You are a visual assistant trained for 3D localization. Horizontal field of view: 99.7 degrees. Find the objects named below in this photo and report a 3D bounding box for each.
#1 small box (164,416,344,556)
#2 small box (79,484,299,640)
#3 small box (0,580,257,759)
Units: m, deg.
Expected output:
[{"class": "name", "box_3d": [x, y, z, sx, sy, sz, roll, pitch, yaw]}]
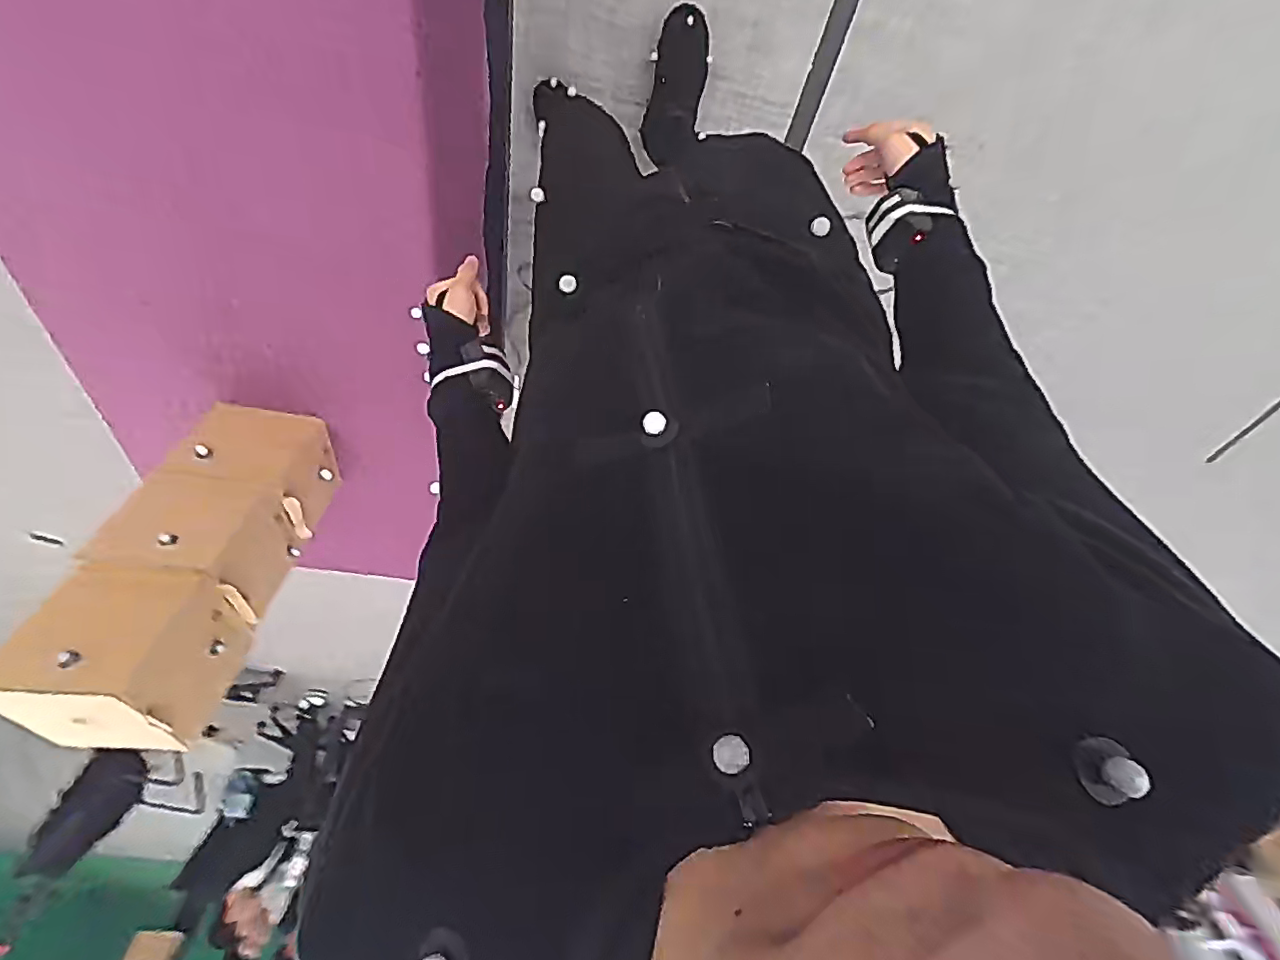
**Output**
[{"class": "small box", "box_3d": [-0.650, 0.008, 0.938, 0.179, 0.176, 0.168, 8, 134, -7]}, {"class": "small box", "box_3d": [-0.655, 0.123, 0.821, 0.179, 0.176, 0.168, 6, 134, -3]}, {"class": "small box", "box_3d": [-0.664, 0.246, 0.714, 0.179, 0.176, 0.168, 2, 134, -1]}]
